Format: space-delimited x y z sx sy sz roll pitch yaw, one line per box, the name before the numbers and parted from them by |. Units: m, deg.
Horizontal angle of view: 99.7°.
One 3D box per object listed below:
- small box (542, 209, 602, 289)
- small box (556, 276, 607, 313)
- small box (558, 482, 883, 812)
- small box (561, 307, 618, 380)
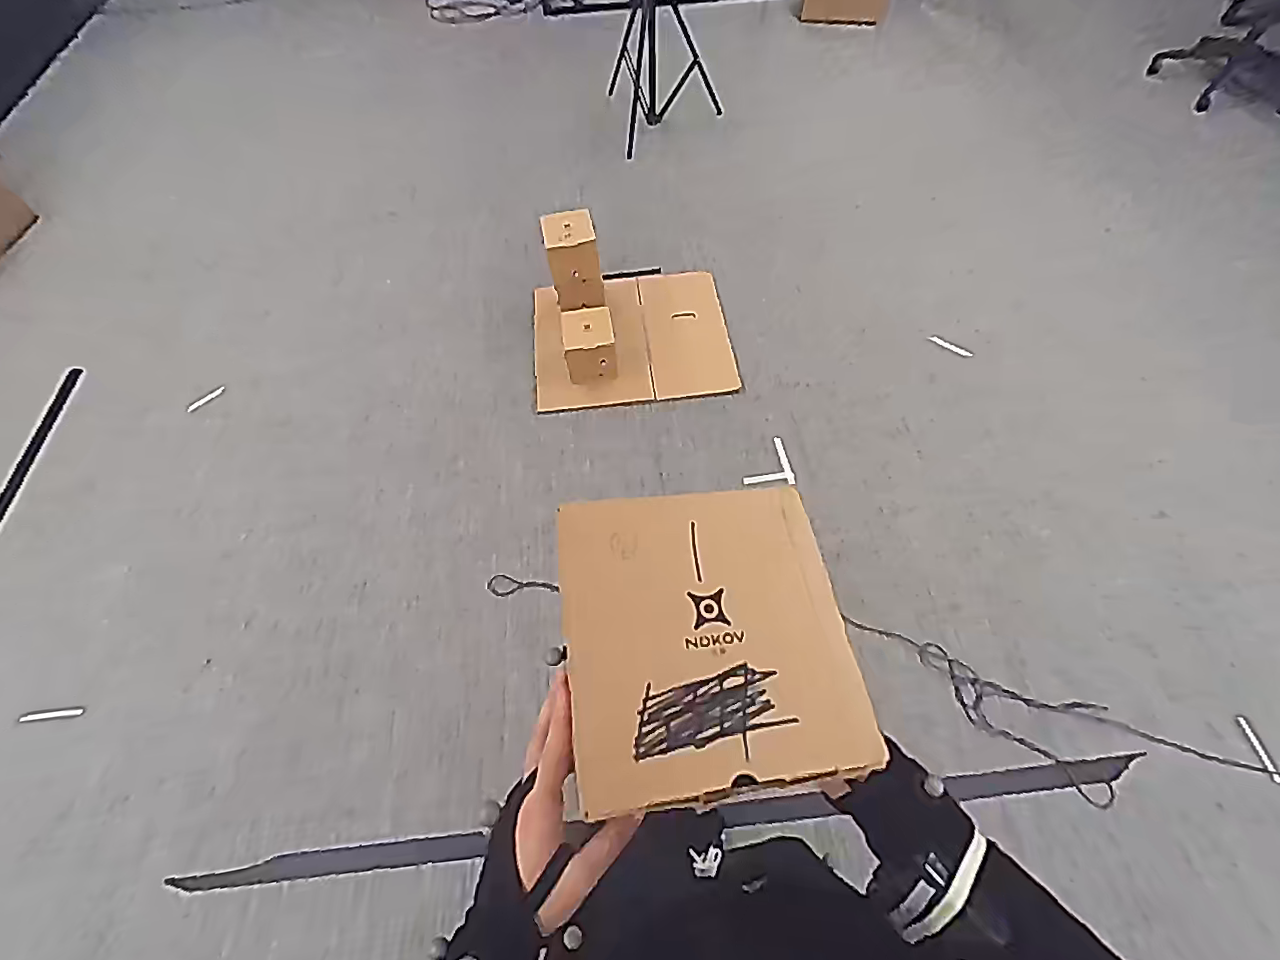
small box | -0.229 -0.777 1.826 0.168 0.176 0.179 -12 60 -3
small box | -0.219 -0.693 1.968 0.168 0.176 0.179 -13 61 -5
small box | 0.031 0.121 0.385 0.168 0.176 0.179 -4 59 -10
small box | -0.167 -0.453 1.827 0.168 0.176 0.179 -9 59 -3
